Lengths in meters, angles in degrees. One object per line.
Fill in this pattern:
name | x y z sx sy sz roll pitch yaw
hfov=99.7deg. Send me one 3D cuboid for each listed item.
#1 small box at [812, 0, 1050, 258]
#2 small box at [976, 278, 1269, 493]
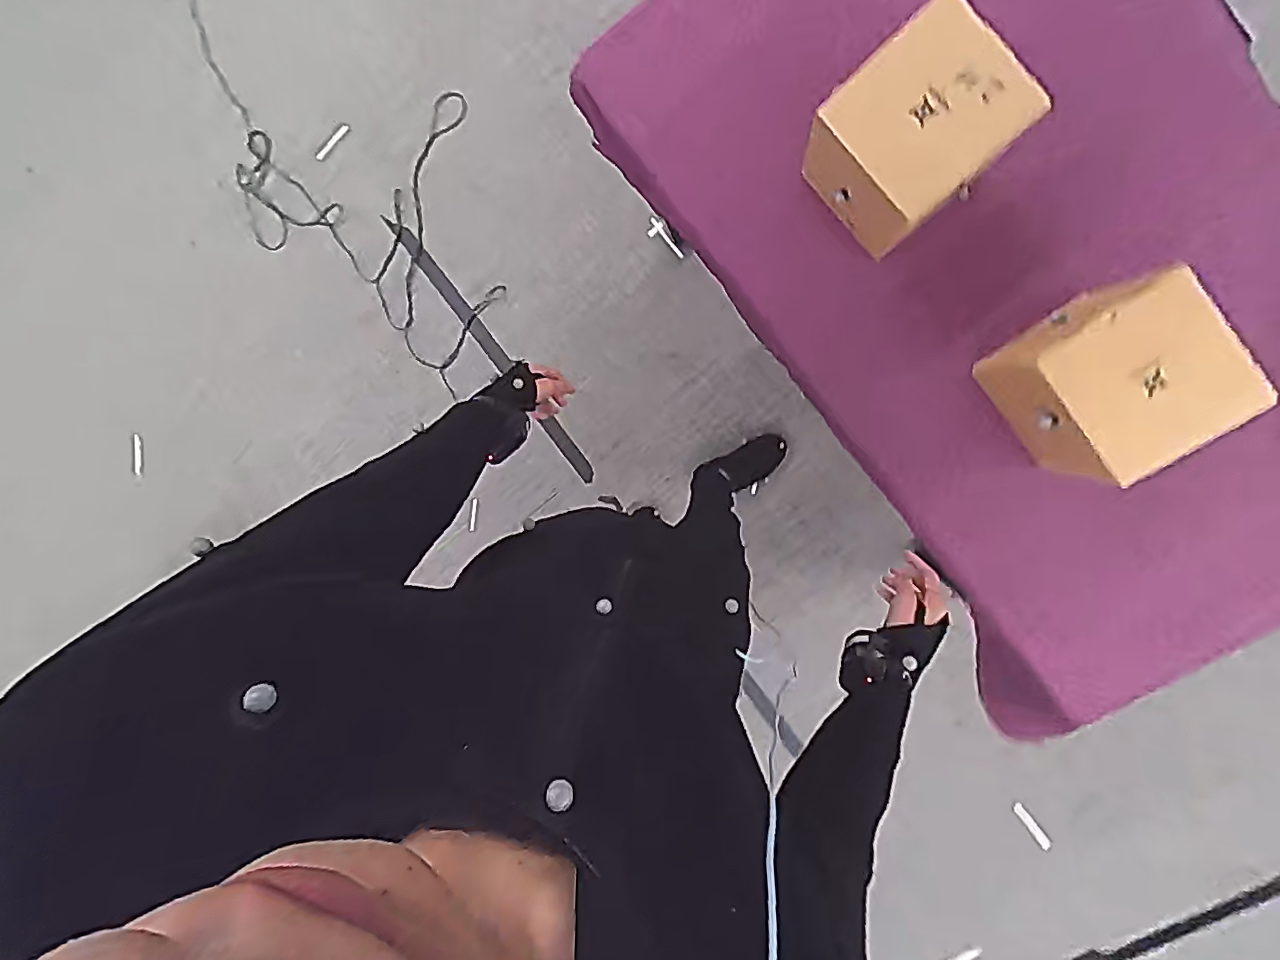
small box | 0.328 -0.405 0.659 0.179 0.176 0.168 -39 90 13
small box | 0.560 -0.110 0.660 0.168 0.176 0.179 -35 90 13
